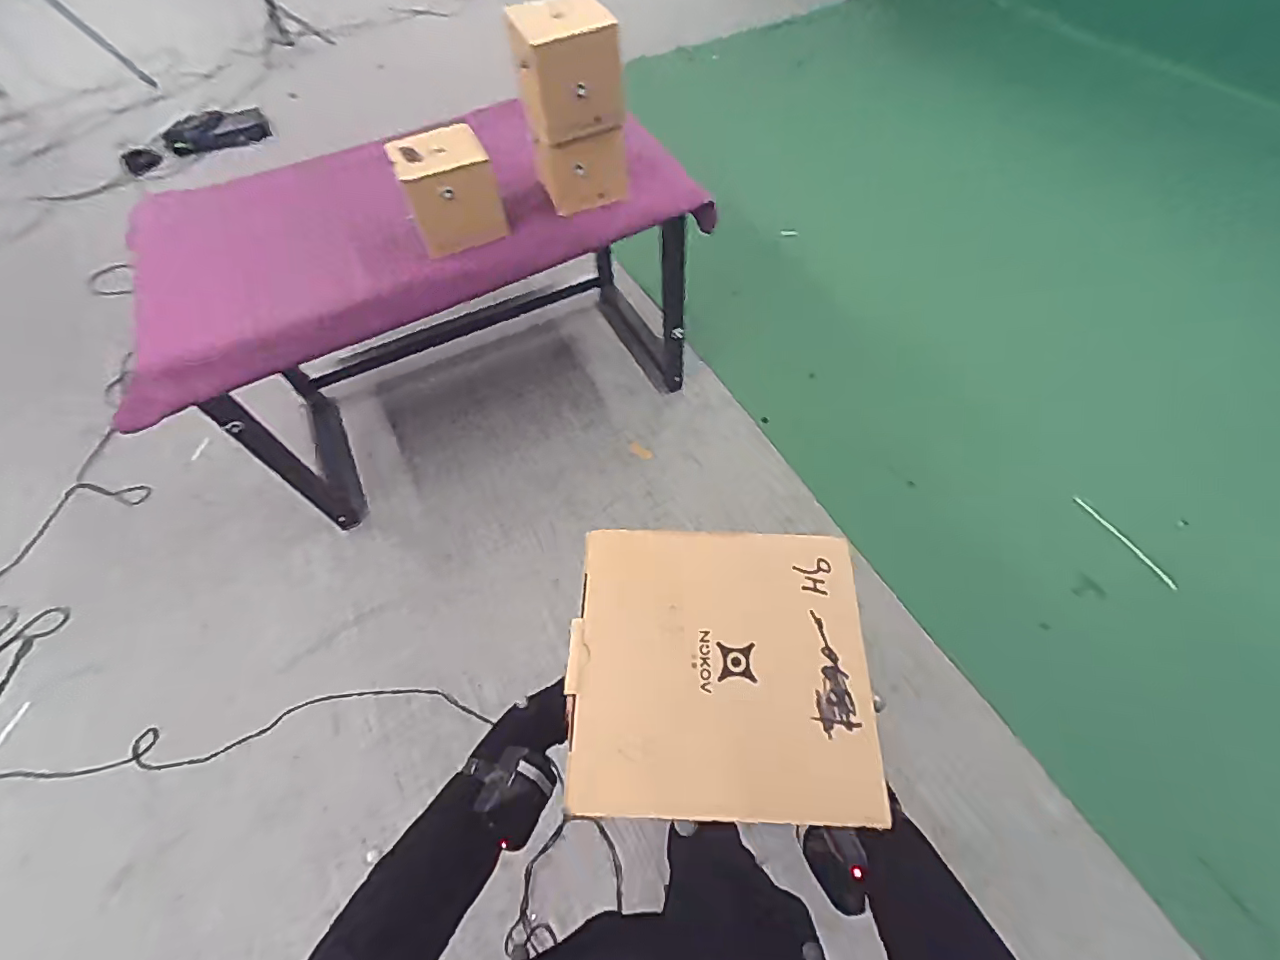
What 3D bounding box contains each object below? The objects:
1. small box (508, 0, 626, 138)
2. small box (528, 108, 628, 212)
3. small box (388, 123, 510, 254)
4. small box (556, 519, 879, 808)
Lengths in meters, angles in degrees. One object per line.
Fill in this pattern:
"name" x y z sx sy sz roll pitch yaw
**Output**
"small box" -0.133 -0.785 1.035 0.168 0.176 0.179 -22 60 -10
"small box" -0.130 -0.715 1.185 0.168 0.176 0.179 -19 60 -8
"small box" -0.392 -0.601 1.126 0.179 0.176 0.168 -22 59 -12
"small box" 0.045 0.138 0.396 0.179 0.176 0.168 2 62 1
